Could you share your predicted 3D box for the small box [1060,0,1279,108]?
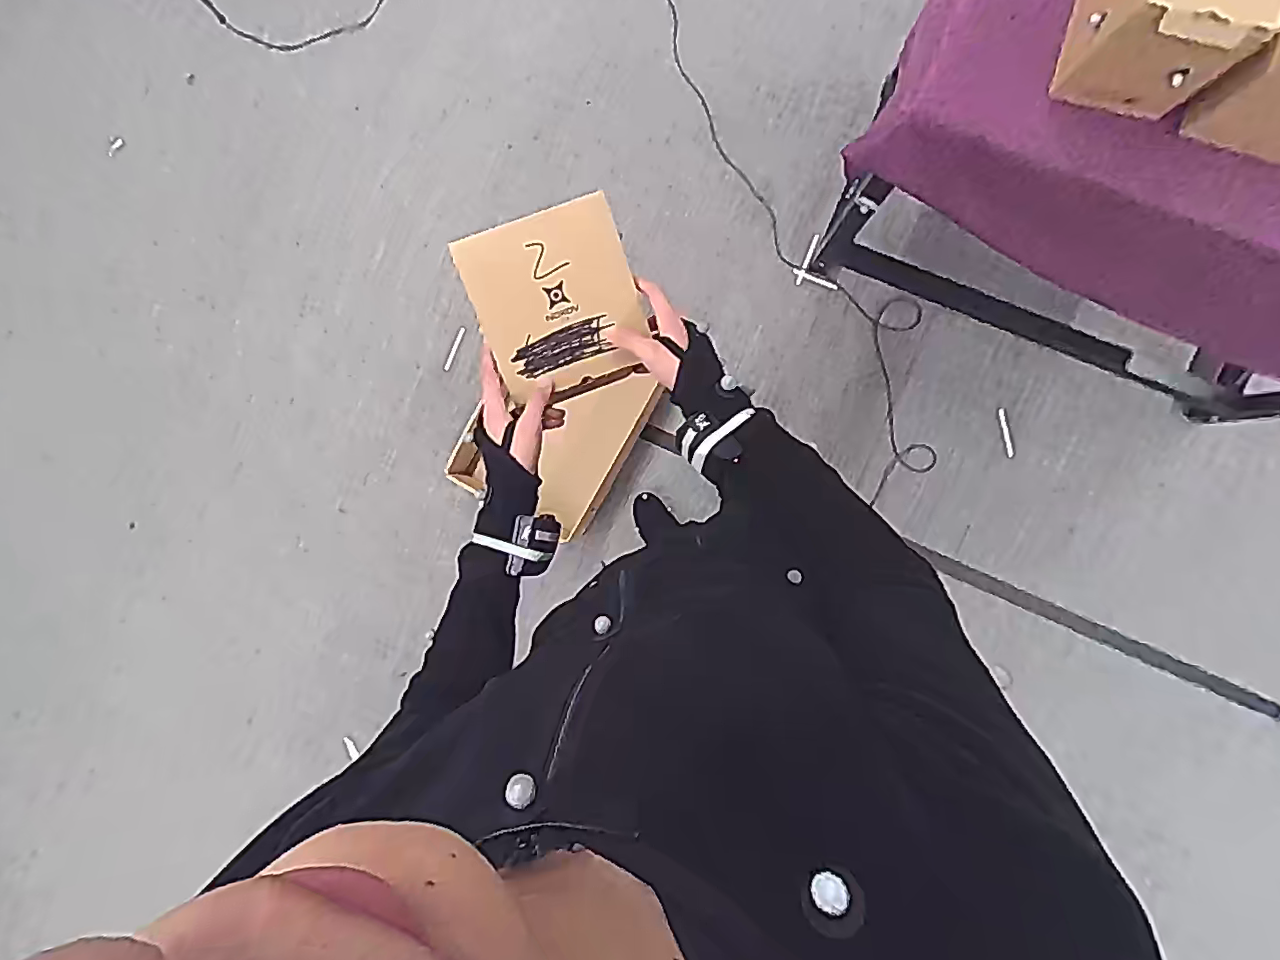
[{"bbox_3d":[0.719,-0.650,0.728,0.168,0.176,0.179,15,93,2],"label":"small box"}]
